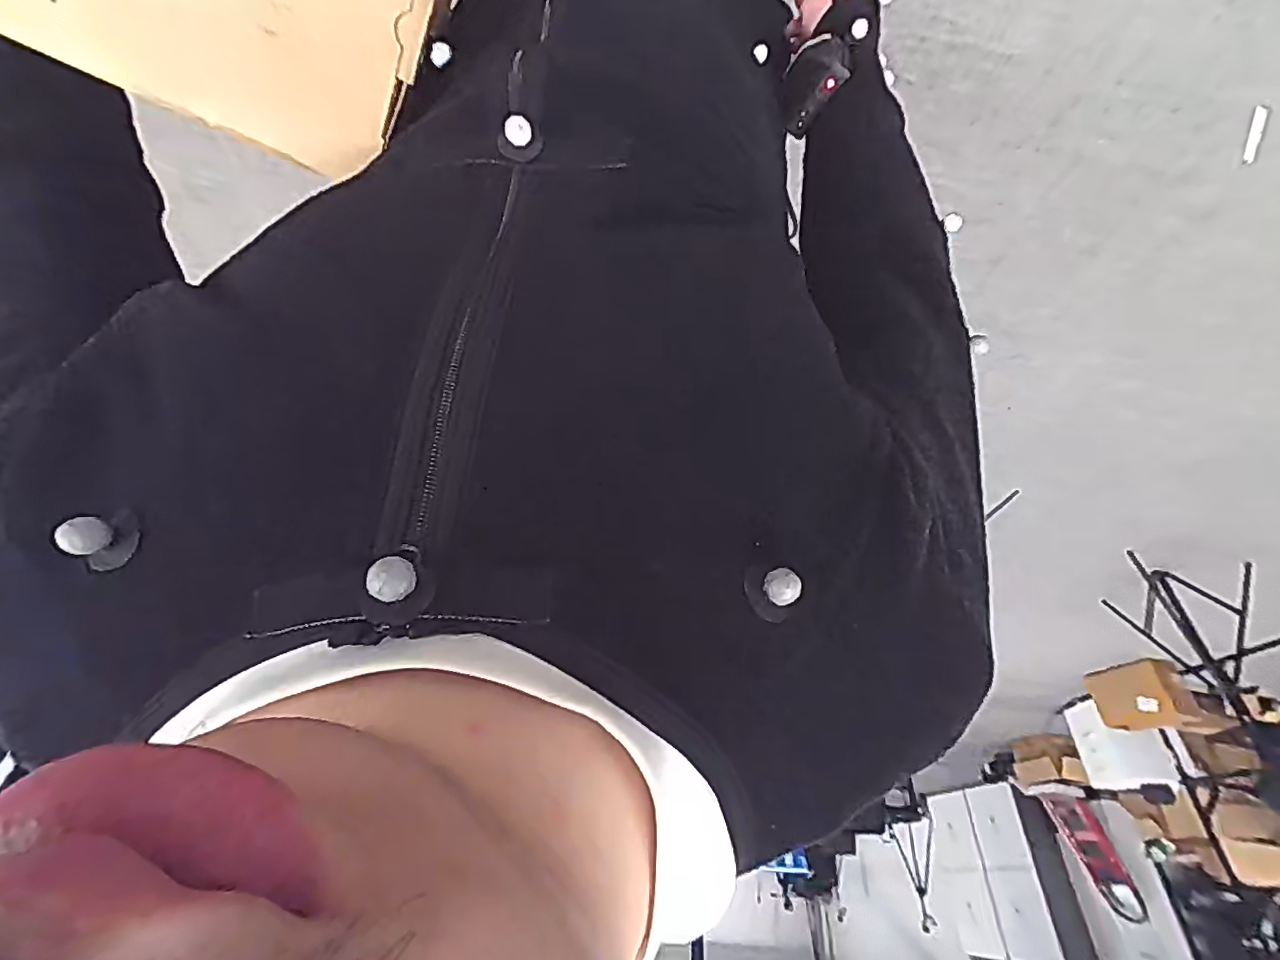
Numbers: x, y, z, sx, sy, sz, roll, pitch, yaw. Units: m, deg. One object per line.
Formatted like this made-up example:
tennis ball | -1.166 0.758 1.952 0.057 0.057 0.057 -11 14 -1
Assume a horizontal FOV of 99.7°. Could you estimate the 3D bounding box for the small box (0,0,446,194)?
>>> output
small box | -0.211 -0.294 0.305 0.179 0.176 0.168 16 117 -25
